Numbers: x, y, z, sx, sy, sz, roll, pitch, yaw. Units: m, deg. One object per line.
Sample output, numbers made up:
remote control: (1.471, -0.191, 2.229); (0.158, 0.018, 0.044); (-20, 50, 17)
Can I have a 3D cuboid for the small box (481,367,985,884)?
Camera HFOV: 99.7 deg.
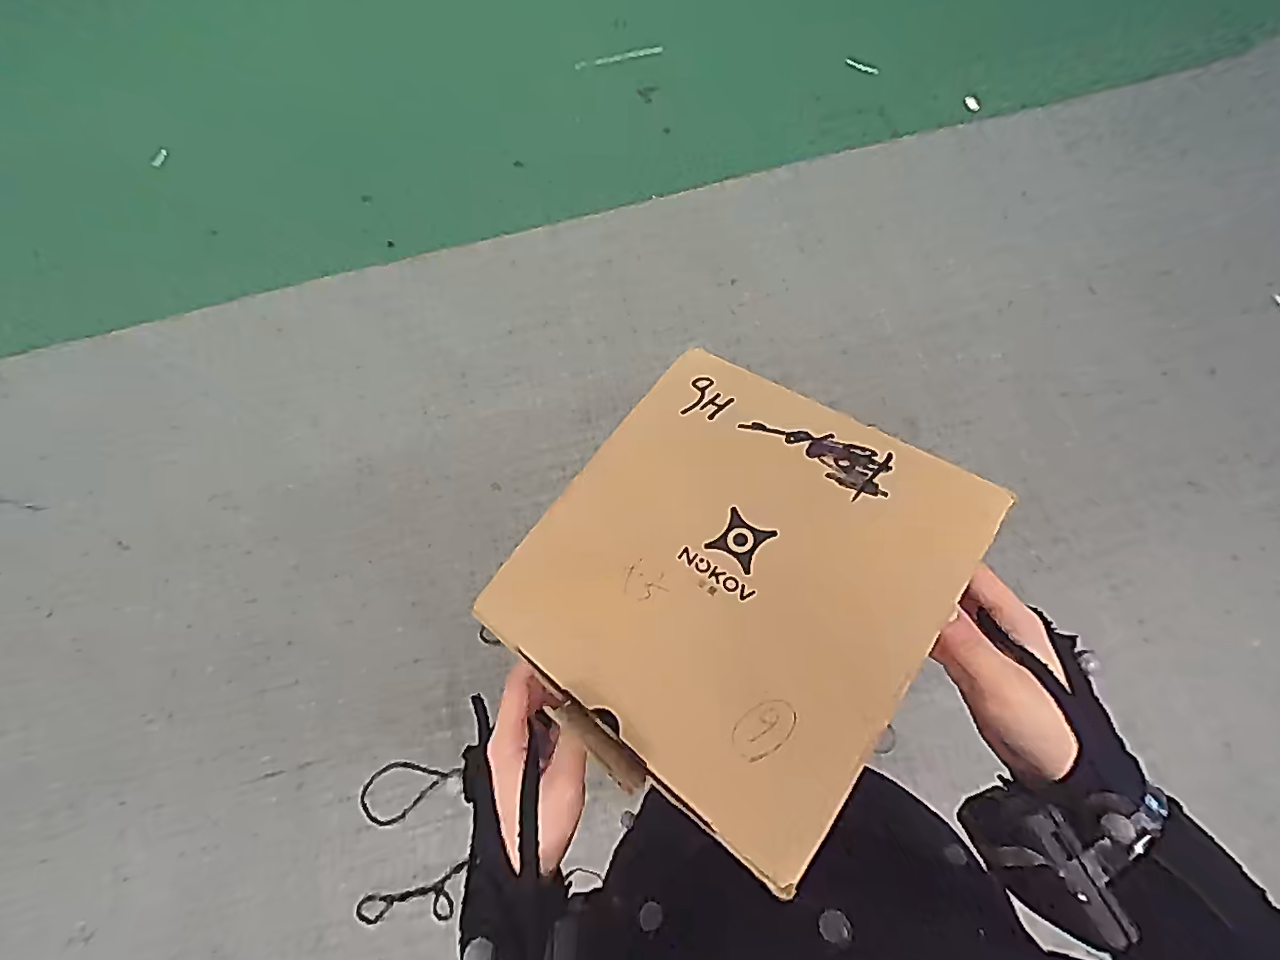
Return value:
small box: (0.052, 0.076, 0.312); (0.168, 0.176, 0.179); (31, 74, 25)
